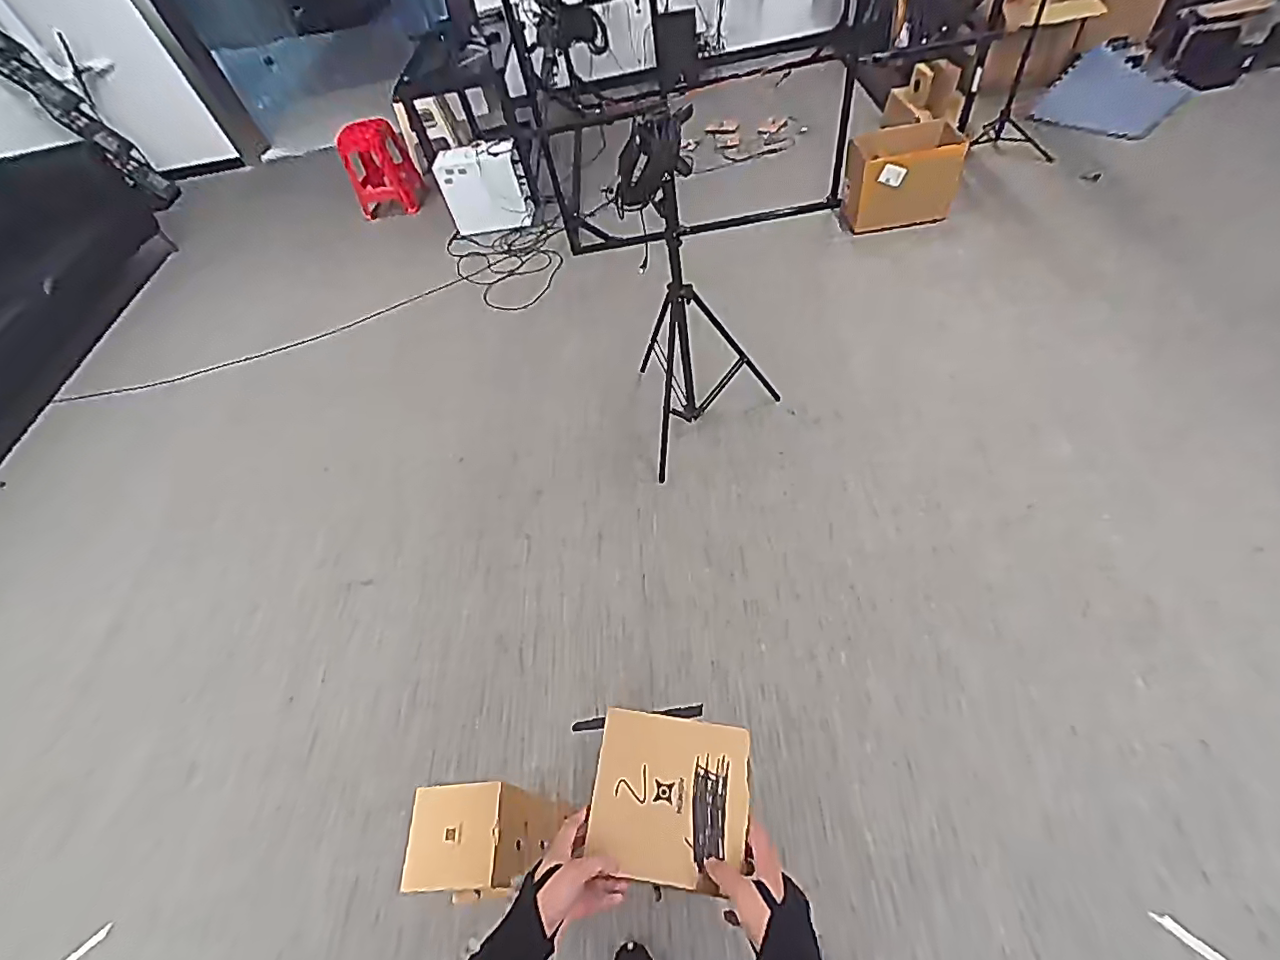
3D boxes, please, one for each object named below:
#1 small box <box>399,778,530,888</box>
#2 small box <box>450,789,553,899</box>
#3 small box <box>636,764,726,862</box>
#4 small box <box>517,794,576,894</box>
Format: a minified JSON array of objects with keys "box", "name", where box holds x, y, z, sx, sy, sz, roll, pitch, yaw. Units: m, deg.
[{"box":[-0.332,0.693,1.058,0.179,0.176,0.168,-8,53,6],"name":"small box"},{"box":[-0.293,0.795,1.180,0.168,0.176,0.179,-12,53,4],"name":"small box"},{"box":[0.089,0.716,1.161,0.179,0.176,0.168,-5,53,6],"name":"small box"},{"box":[-0.260,0.885,1.312,0.168,0.176,0.179,-13,53,2],"name":"small box"}]
